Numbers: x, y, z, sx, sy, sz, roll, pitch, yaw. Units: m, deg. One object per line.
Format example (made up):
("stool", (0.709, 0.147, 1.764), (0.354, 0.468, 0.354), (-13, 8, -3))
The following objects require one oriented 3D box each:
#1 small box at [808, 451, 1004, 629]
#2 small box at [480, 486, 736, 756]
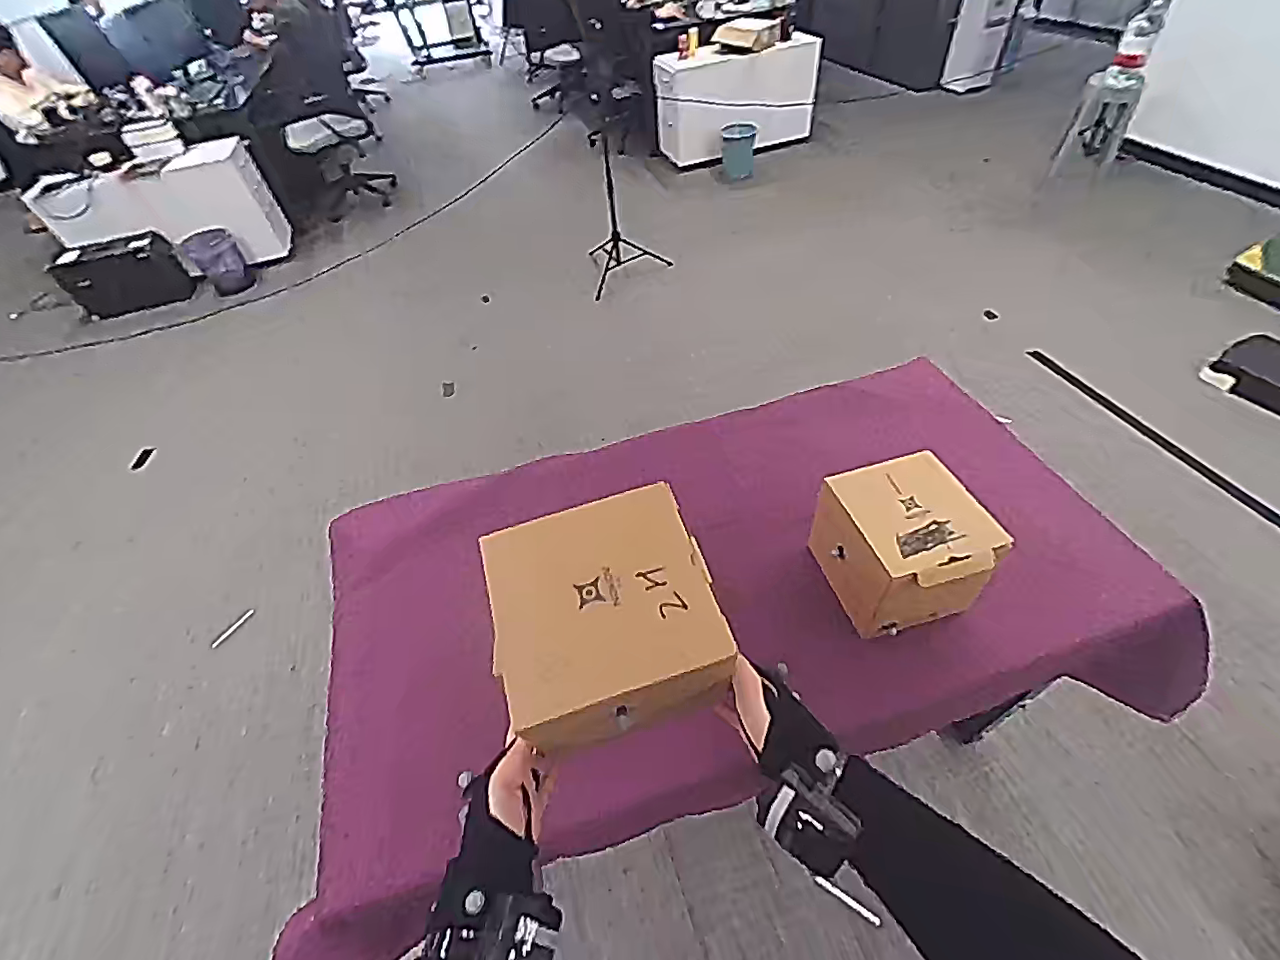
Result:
("small box", (0.359, 0.093, 0.770), (0.168, 0.176, 0.179), (-15, 48, -6))
("small box", (-0.027, 0.136, 0.498), (0.179, 0.176, 0.168), (-17, 58, -7))
